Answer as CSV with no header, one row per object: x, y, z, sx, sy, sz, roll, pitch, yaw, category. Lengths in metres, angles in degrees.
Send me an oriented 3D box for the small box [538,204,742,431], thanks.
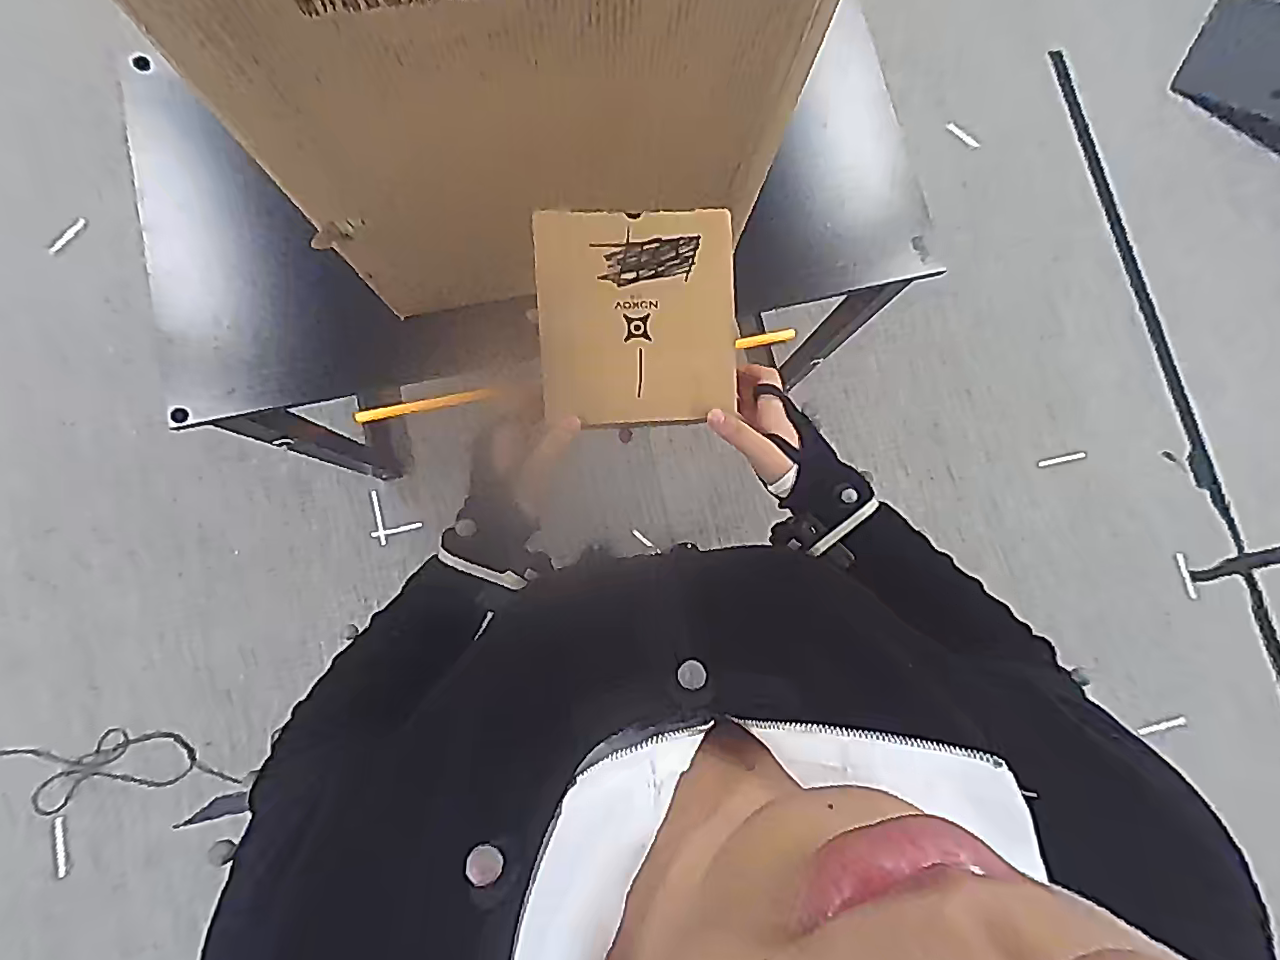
-0.007,-0.141,0.523,0.168,0.176,0.179,-4,94,-5,small box
